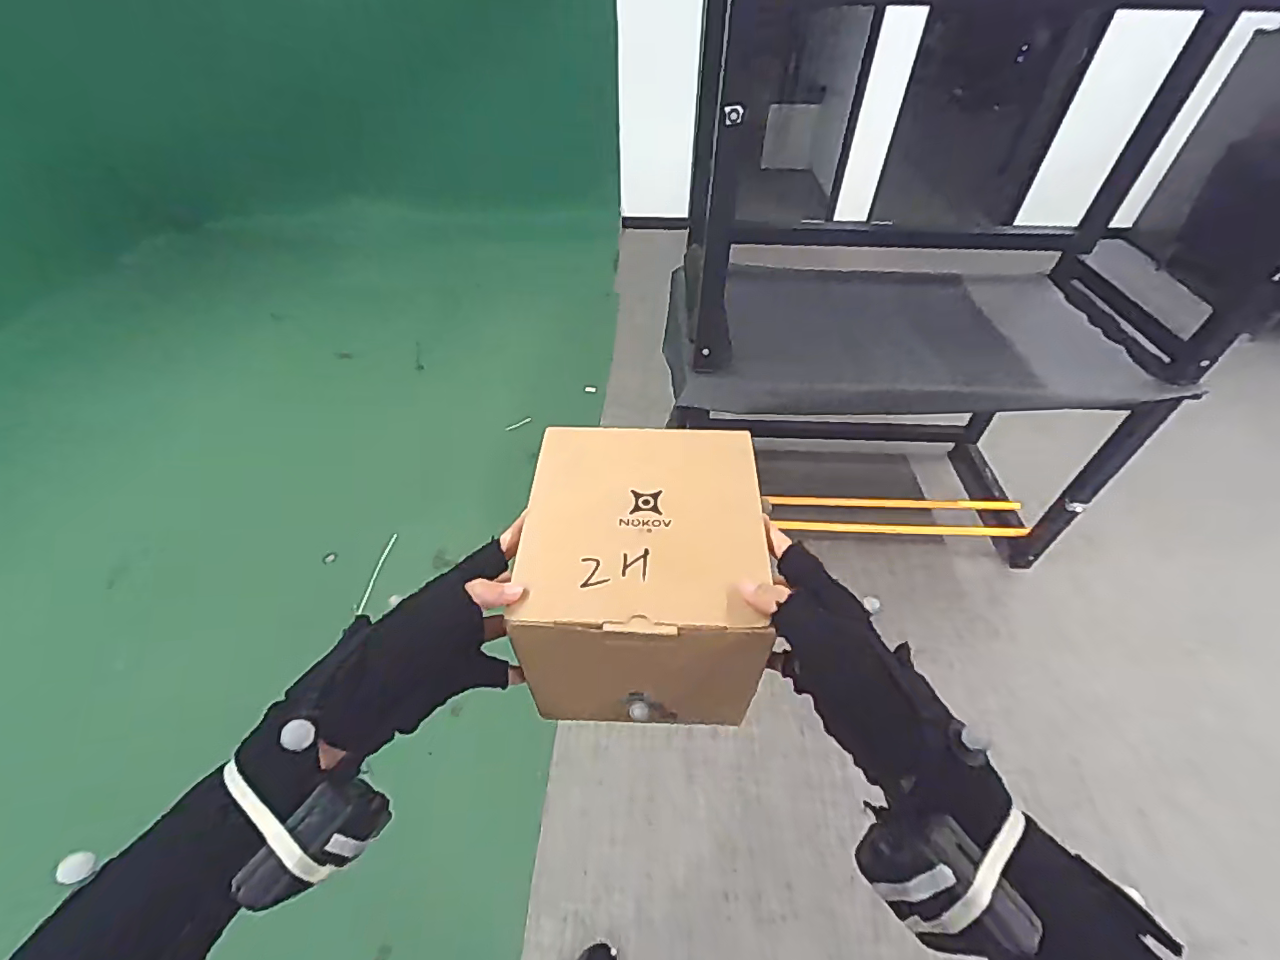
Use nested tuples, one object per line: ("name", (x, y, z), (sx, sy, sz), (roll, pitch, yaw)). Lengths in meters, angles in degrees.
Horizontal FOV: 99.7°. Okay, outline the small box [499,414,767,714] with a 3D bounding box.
("small box", (-0.001, 0.067, 0.438), (0.168, 0.176, 0.179), (1, 47, 2))
